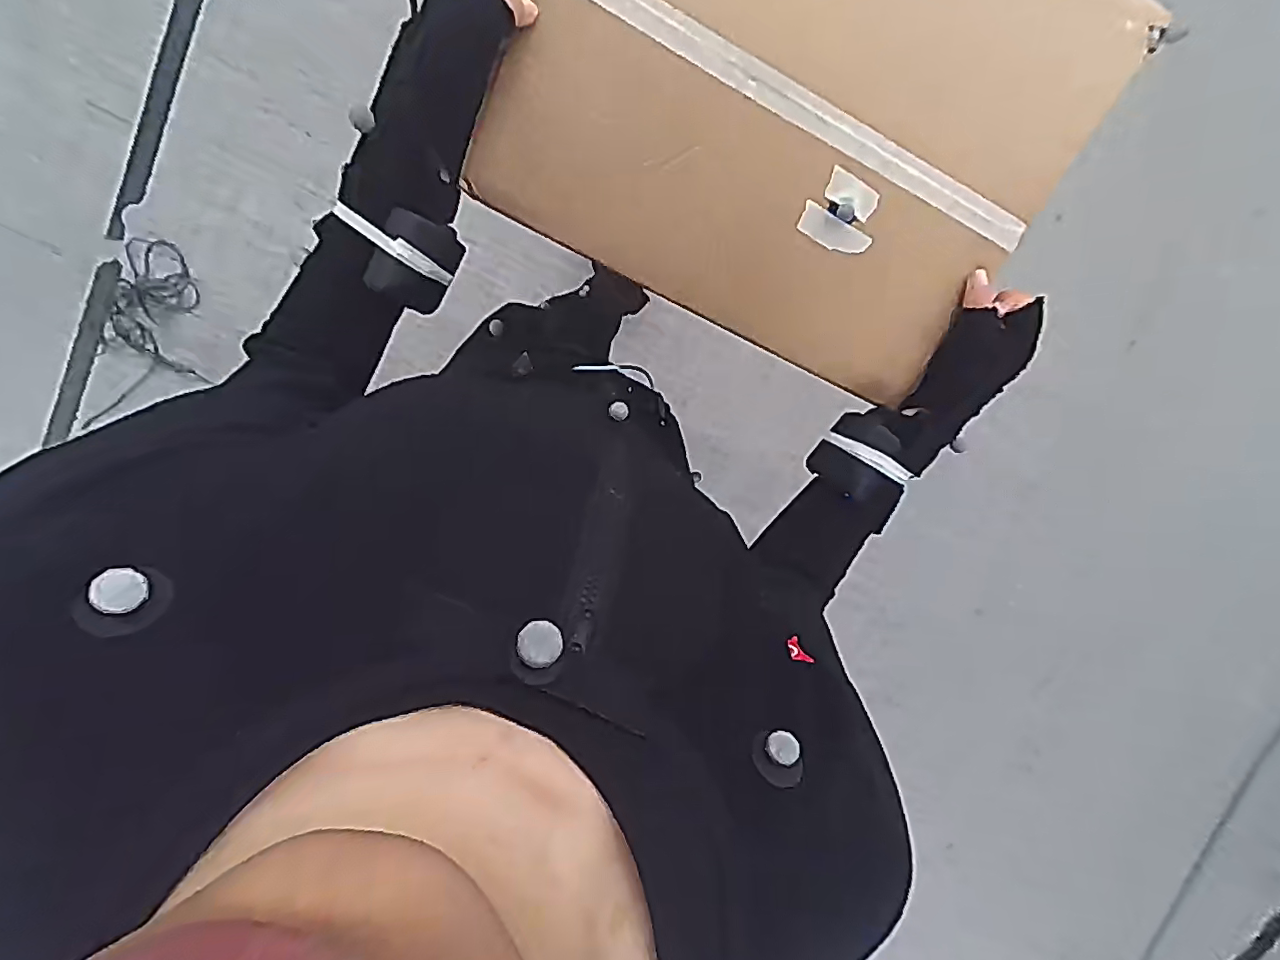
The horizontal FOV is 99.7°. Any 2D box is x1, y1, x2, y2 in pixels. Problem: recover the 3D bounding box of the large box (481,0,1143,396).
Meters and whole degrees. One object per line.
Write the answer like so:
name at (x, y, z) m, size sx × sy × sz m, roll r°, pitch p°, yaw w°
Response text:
large box at (0.112, -0.334, 0.536) m, size 0.408 × 0.320 × 0.320 m, roll 24°, pitch 112°, yaw -12°
